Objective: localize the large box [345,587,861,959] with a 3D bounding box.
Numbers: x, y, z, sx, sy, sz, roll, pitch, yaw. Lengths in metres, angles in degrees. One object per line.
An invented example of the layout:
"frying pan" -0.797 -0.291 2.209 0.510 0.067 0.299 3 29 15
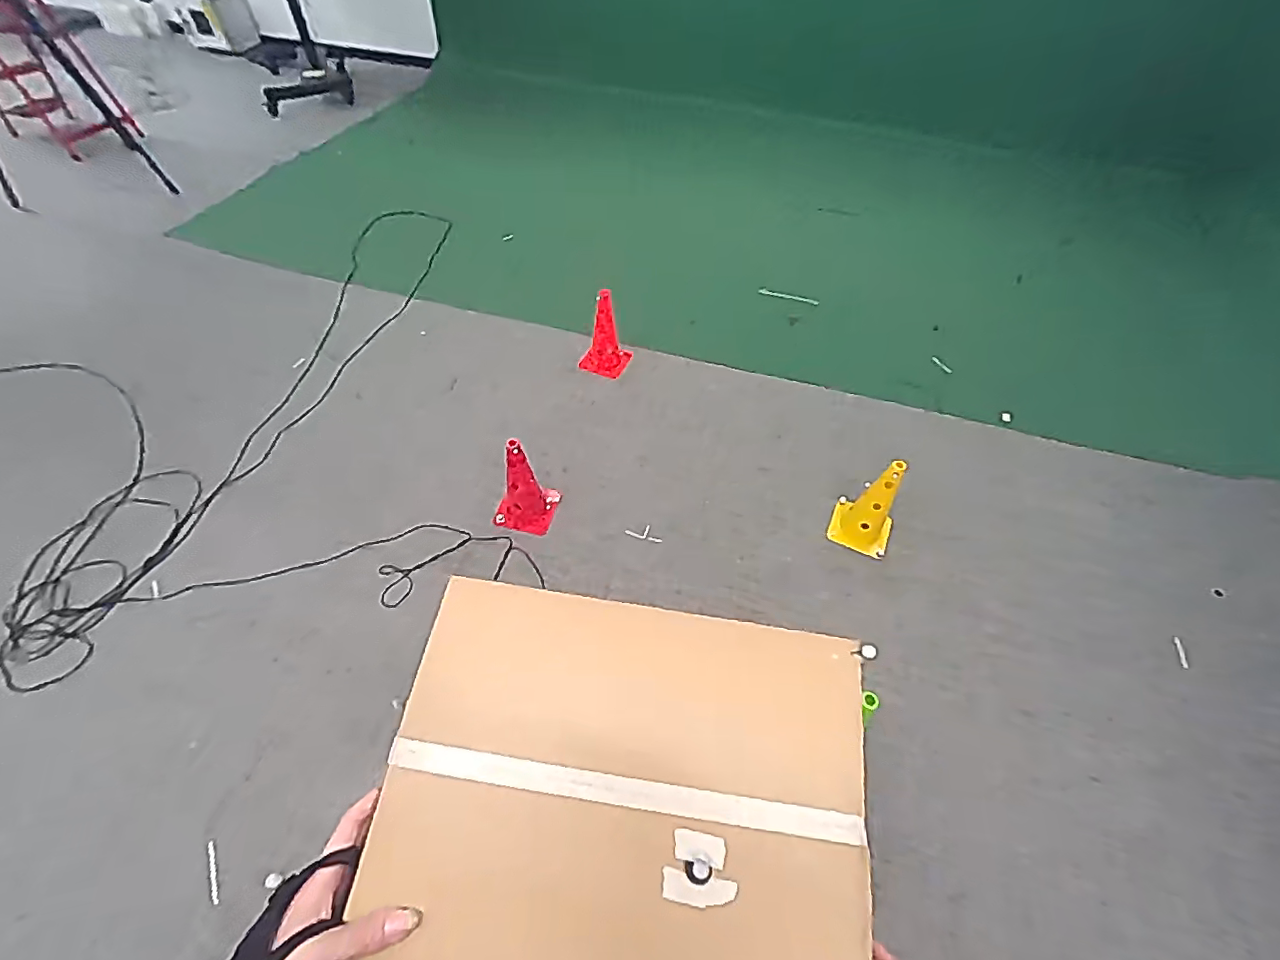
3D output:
"large box" -0.017 0.334 0.601 0.408 0.320 0.320 9 64 2

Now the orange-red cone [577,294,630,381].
"orange-red cone" -0.162 -0.637 2.336 0.199 0.360 0.198 20 53 14
